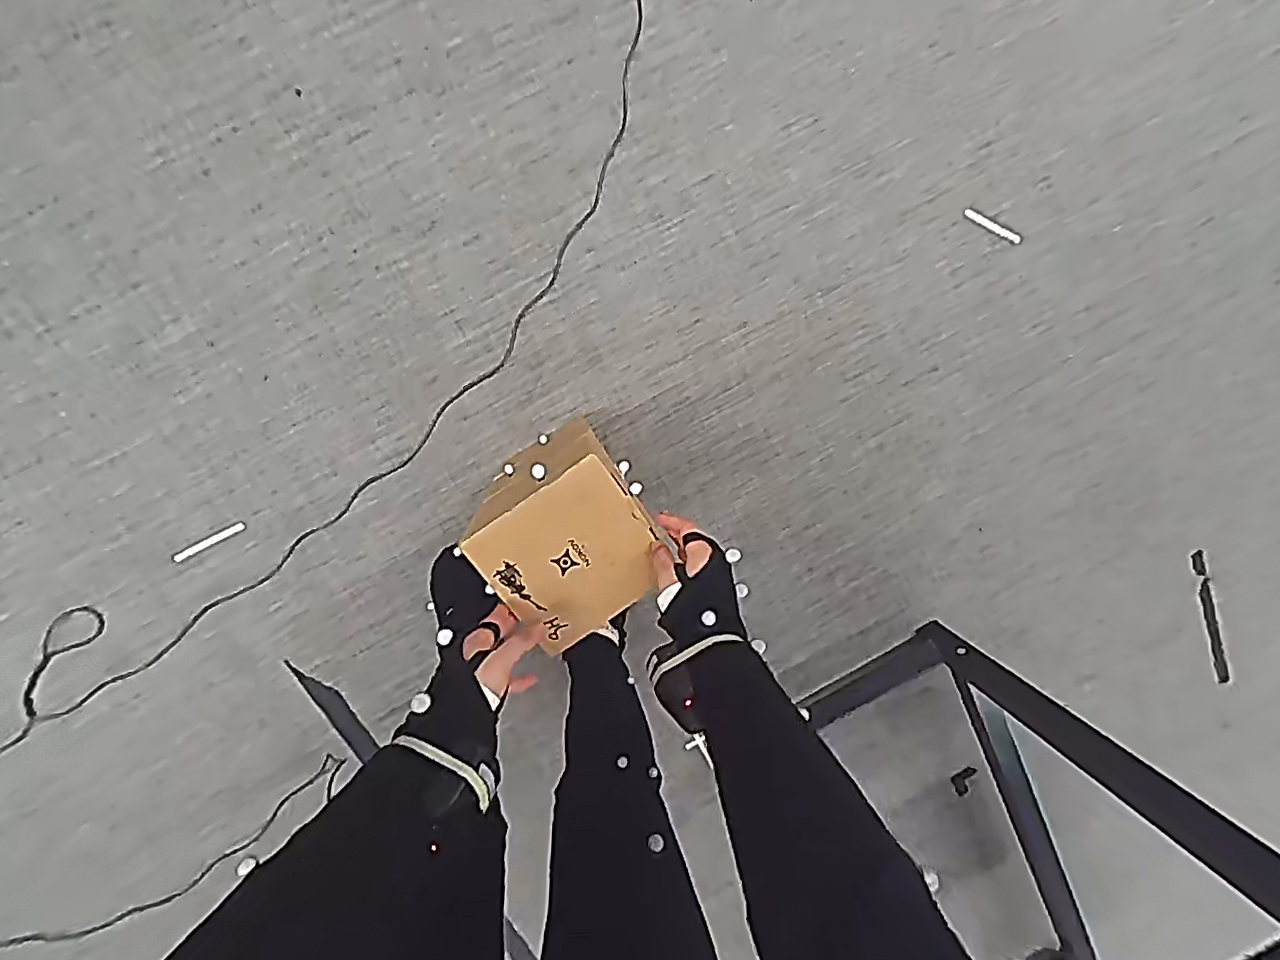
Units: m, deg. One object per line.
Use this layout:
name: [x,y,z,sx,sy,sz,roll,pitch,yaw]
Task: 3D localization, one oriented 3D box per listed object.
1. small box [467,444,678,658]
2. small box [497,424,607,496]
small box: [-0.083,0.071,0.661,0.179,0.176,0.168,-35,103,-2]
small box: [-0.134,0.011,0.979,0.179,0.176,0.168,-32,103,-1]
